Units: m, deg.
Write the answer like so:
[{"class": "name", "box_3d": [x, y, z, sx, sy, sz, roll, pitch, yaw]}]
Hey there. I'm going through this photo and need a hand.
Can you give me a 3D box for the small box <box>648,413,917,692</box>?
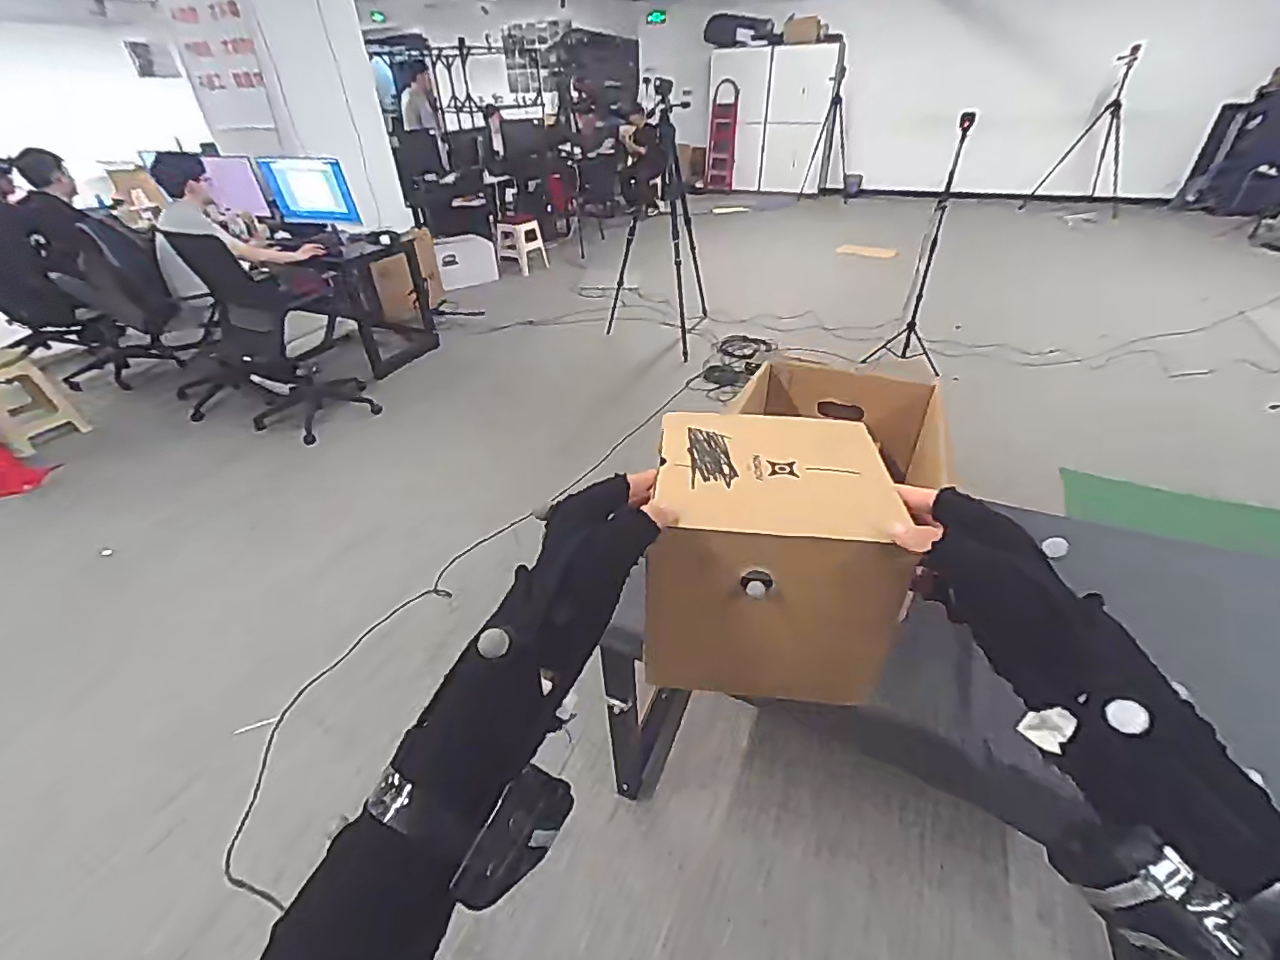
[{"class": "small box", "box_3d": [0.101, 0.058, 0.462, 0.179, 0.176, 0.168, 5, 34, 5]}]
